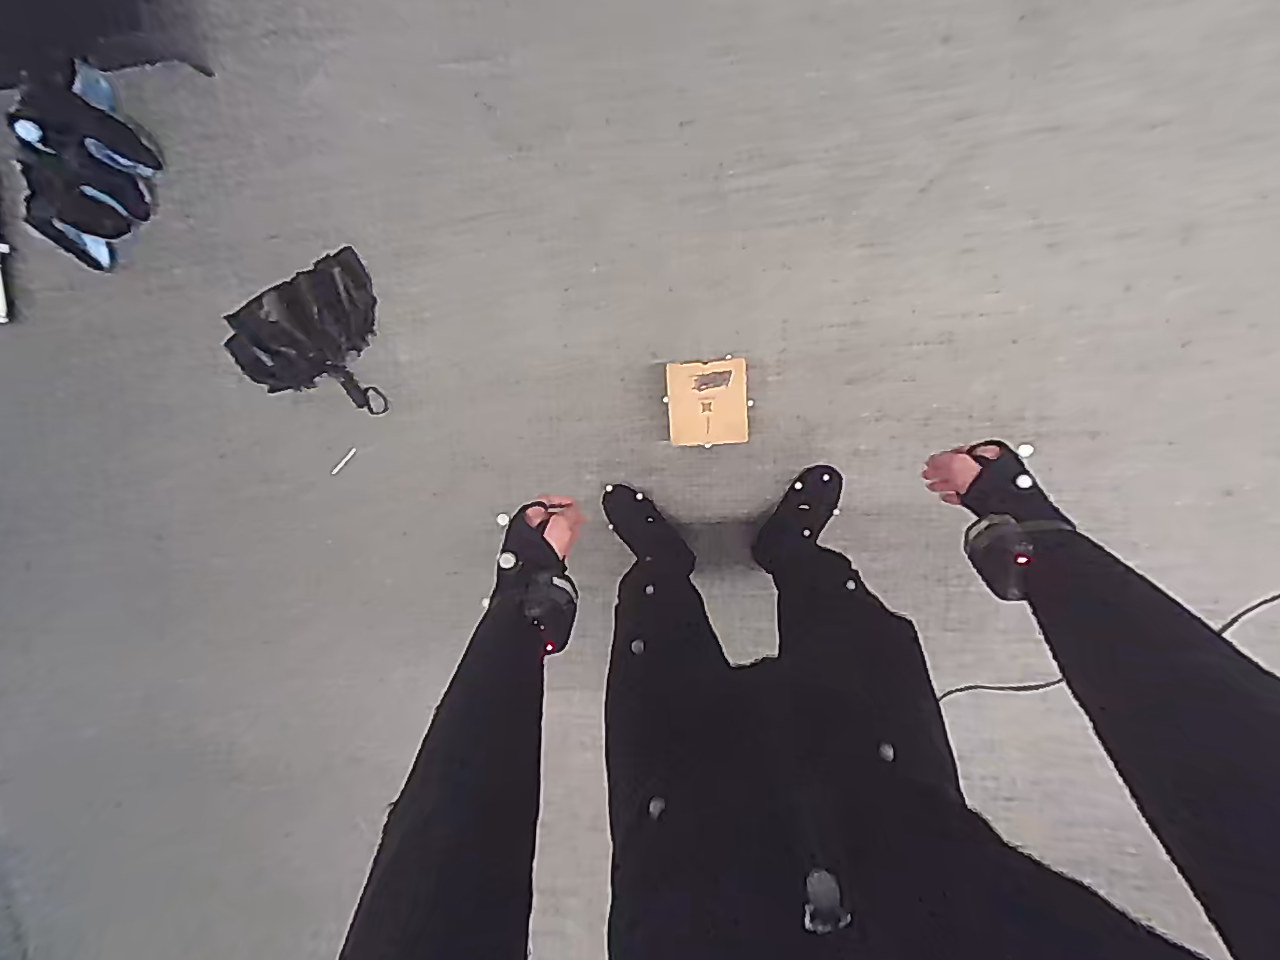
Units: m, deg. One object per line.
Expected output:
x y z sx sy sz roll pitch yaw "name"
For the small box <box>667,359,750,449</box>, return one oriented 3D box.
0.150 -0.167 1.177 0.168 0.176 0.179 -2 101 9 "small box"
